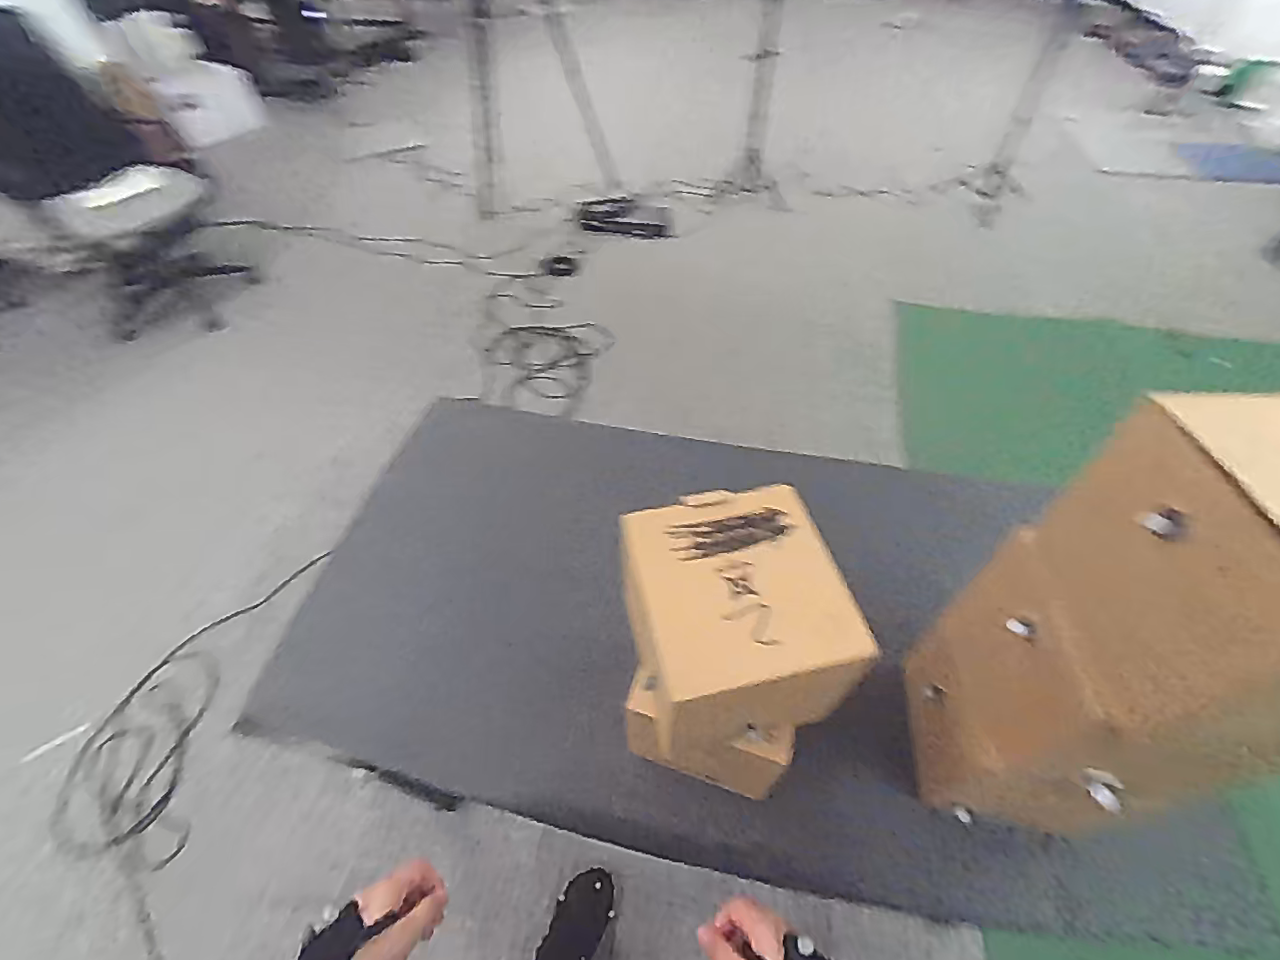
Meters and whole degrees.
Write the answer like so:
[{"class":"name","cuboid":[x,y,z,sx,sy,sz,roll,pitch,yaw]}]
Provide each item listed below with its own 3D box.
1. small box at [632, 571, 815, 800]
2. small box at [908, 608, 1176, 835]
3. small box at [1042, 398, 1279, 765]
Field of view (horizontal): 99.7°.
[{"class":"small box","cuboid":[0.094,0.243,0.640,0.168,0.176,0.179,15,51,13]},{"class":"small box","cuboid":[0.421,0.273,0.606,0.168,0.176,0.179,8,49,9]},{"class":"small box","cuboid":[0.413,0.067,0.351,0.168,0.176,0.179,2,49,5]}]
